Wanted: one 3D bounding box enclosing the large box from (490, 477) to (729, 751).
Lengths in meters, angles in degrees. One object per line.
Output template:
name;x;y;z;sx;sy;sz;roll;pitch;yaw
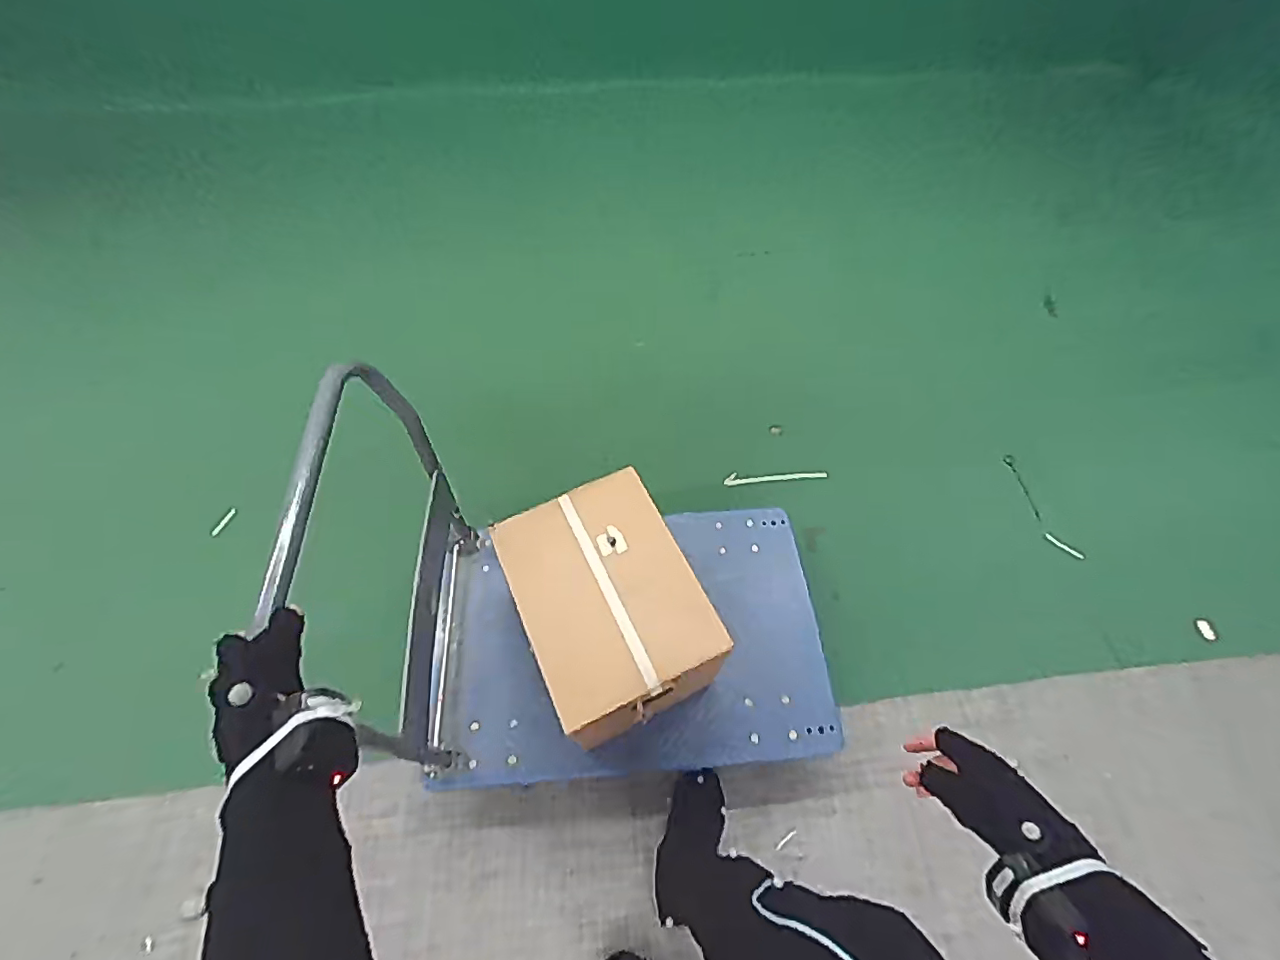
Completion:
large box;-0.062;0.278;1.114;0.320;0.320;0.408;-23;60;-13
